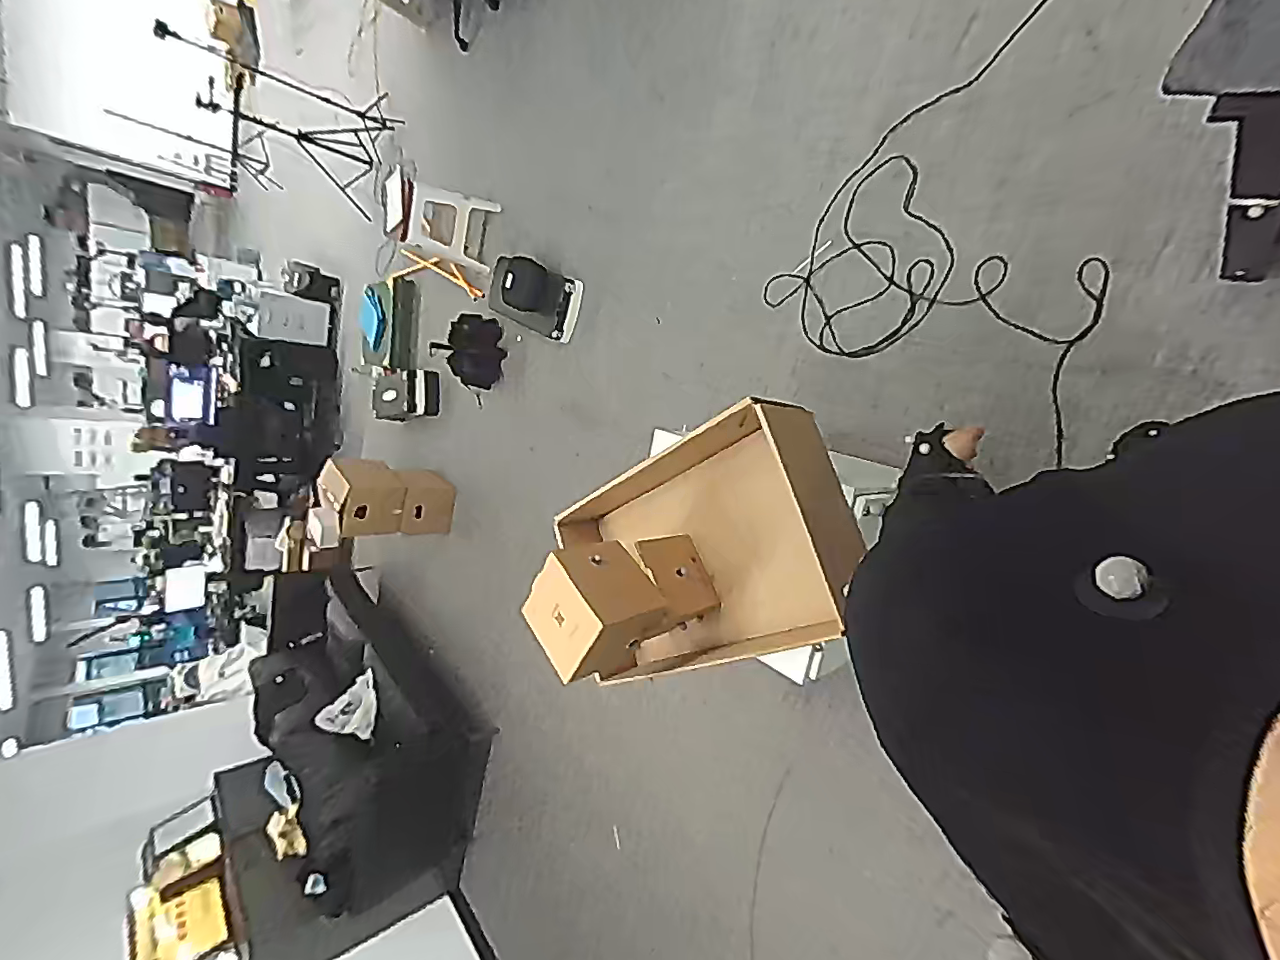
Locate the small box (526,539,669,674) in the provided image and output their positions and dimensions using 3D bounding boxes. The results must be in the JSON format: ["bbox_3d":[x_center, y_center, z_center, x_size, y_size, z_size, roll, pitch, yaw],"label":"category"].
[{"bbox_3d":[-0.080,0.227,1.021,0.179,0.176,0.168,47,123,31],"label":"small box"}]
